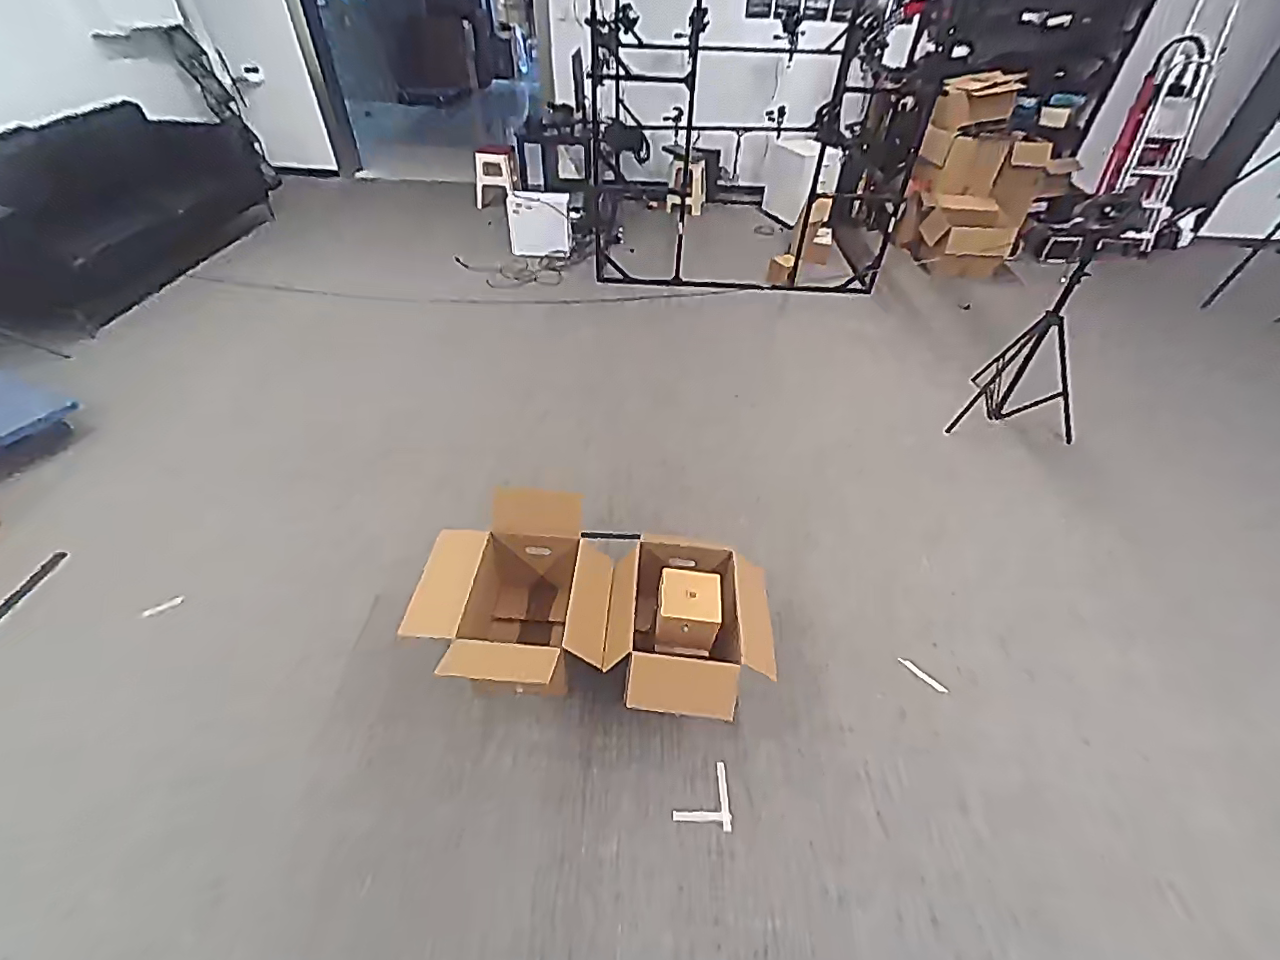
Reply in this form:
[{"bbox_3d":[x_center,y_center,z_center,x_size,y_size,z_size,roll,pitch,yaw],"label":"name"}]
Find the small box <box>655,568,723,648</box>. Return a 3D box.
[{"bbox_3d":[0.145,0.387,1.621,0.179,0.176,0.168,7,45,0],"label":"small box"}]
